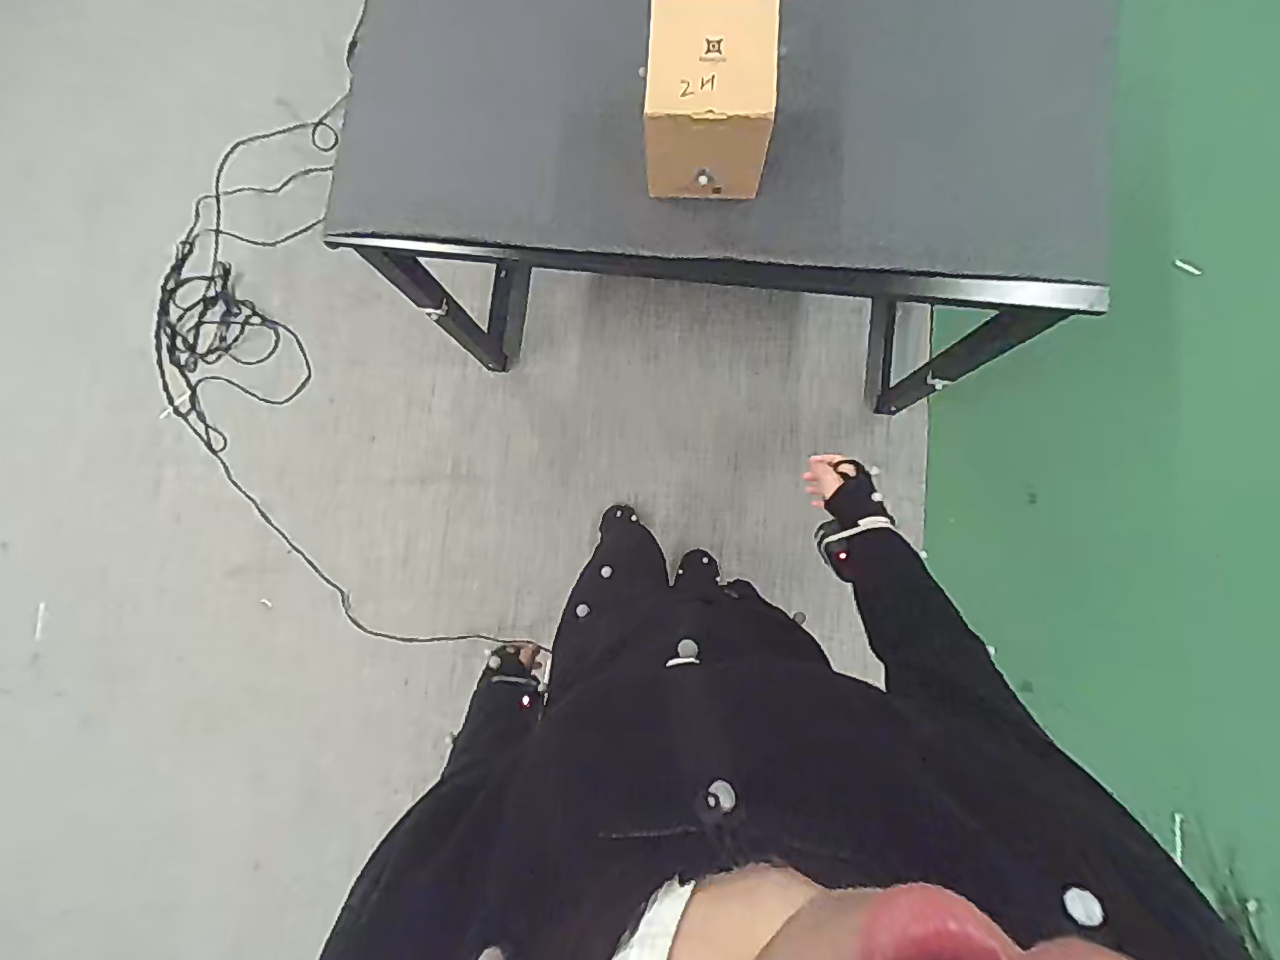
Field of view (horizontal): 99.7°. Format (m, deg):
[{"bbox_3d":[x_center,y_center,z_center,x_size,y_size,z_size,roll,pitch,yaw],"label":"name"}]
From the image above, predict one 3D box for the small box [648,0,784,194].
[{"bbox_3d":[0.100,-0.535,0.754,0.168,0.176,0.179,3,83,4],"label":"small box"}]
